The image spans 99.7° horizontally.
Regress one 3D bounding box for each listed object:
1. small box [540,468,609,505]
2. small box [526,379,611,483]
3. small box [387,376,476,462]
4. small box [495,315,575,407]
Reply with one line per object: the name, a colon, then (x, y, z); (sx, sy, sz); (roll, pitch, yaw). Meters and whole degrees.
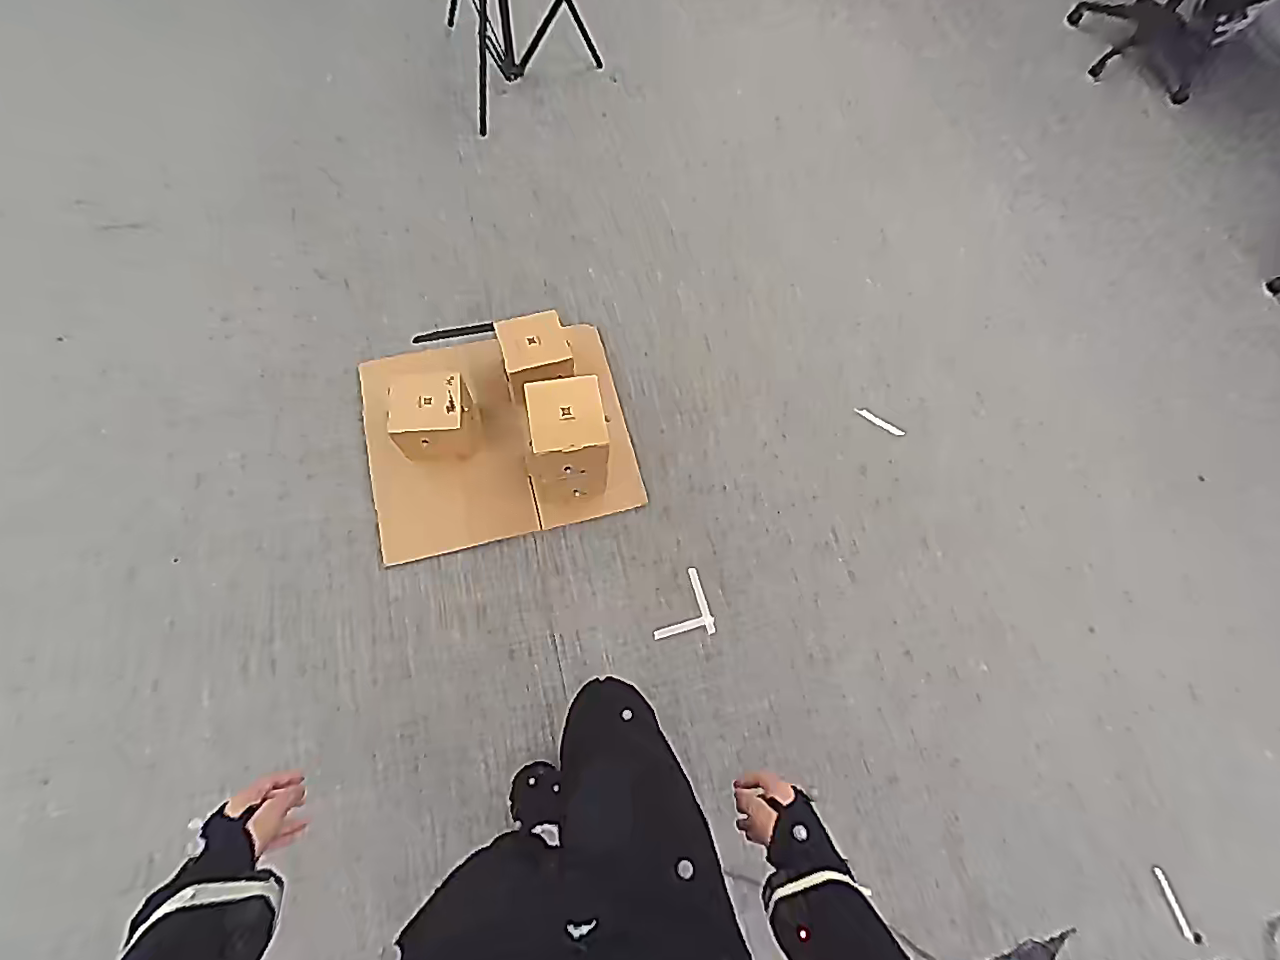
small box: (-0.183, -0.053, 1.409); (0.168, 0.176, 0.179); (-13, 72, -10)
small box: (-0.167, -0.109, 1.257); (0.168, 0.176, 0.179); (-9, 72, -9)
small box: (-0.536, -0.154, 1.410); (0.179, 0.176, 0.168); (-5, 70, -6)
small box: (-0.288, -0.327, 1.504); (0.179, 0.176, 0.168); (-17, 71, -12)
